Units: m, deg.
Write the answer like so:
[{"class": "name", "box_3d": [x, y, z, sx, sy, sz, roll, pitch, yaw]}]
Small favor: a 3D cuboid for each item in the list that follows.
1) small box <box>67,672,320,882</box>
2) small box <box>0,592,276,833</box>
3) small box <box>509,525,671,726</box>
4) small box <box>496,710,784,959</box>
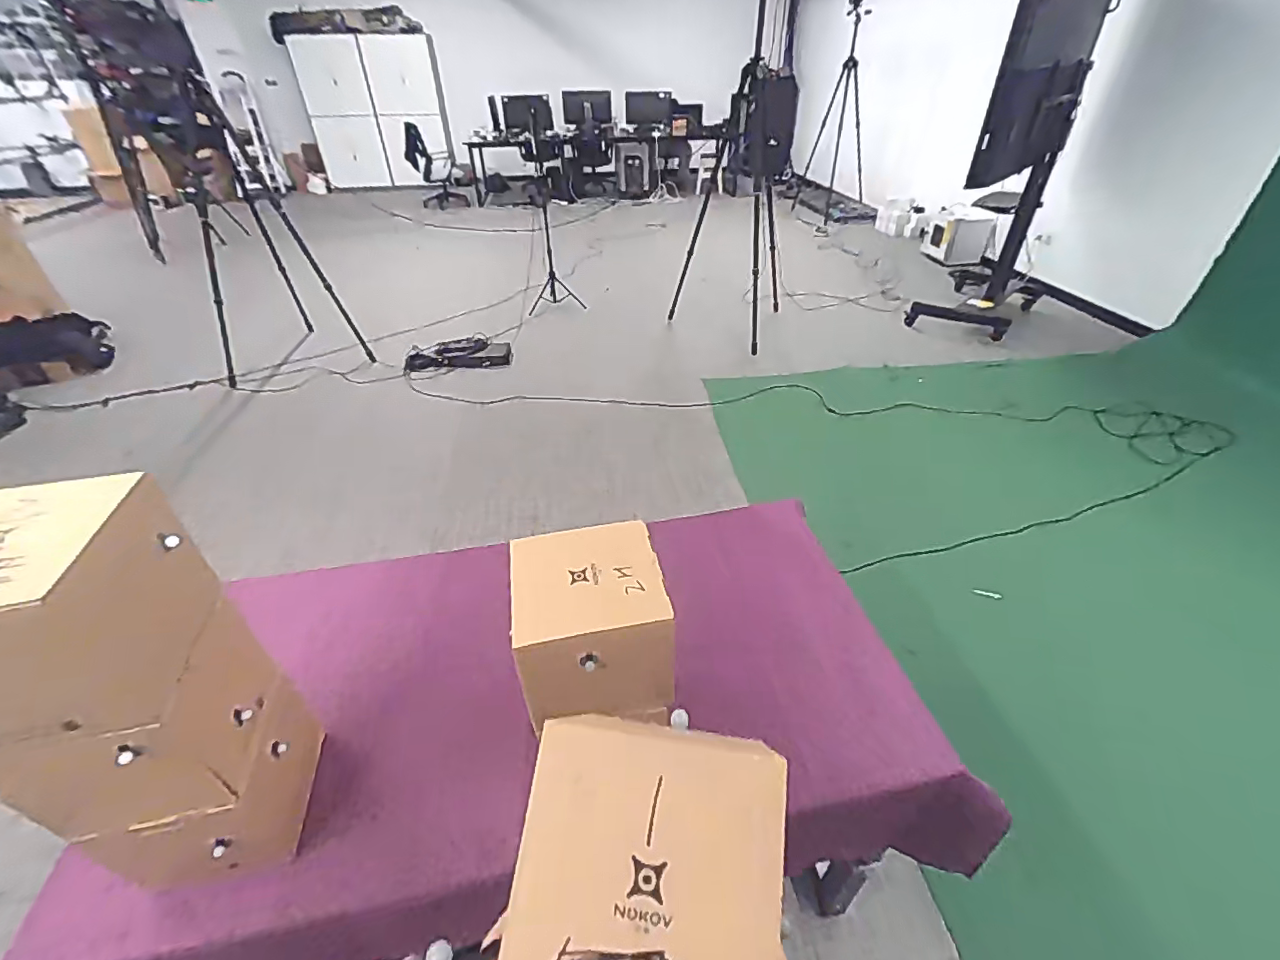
[{"class": "small box", "box_3d": [-0.541, 0.382, 0.693, 0.168, 0.176, 0.179, -7, 37, -10]}, {"class": "small box", "box_3d": [-0.546, 0.253, 0.595, 0.179, 0.176, 0.168, -8, 38, -12]}, {"class": "small box", "box_3d": [-0.062, 0.181, 0.676, 0.179, 0.176, 0.168, -7, 38, -9]}, {"class": "small box", "box_3d": [0.009, 0.280, 0.406, 0.168, 0.176, 0.179, 6, 68, 8]}]
